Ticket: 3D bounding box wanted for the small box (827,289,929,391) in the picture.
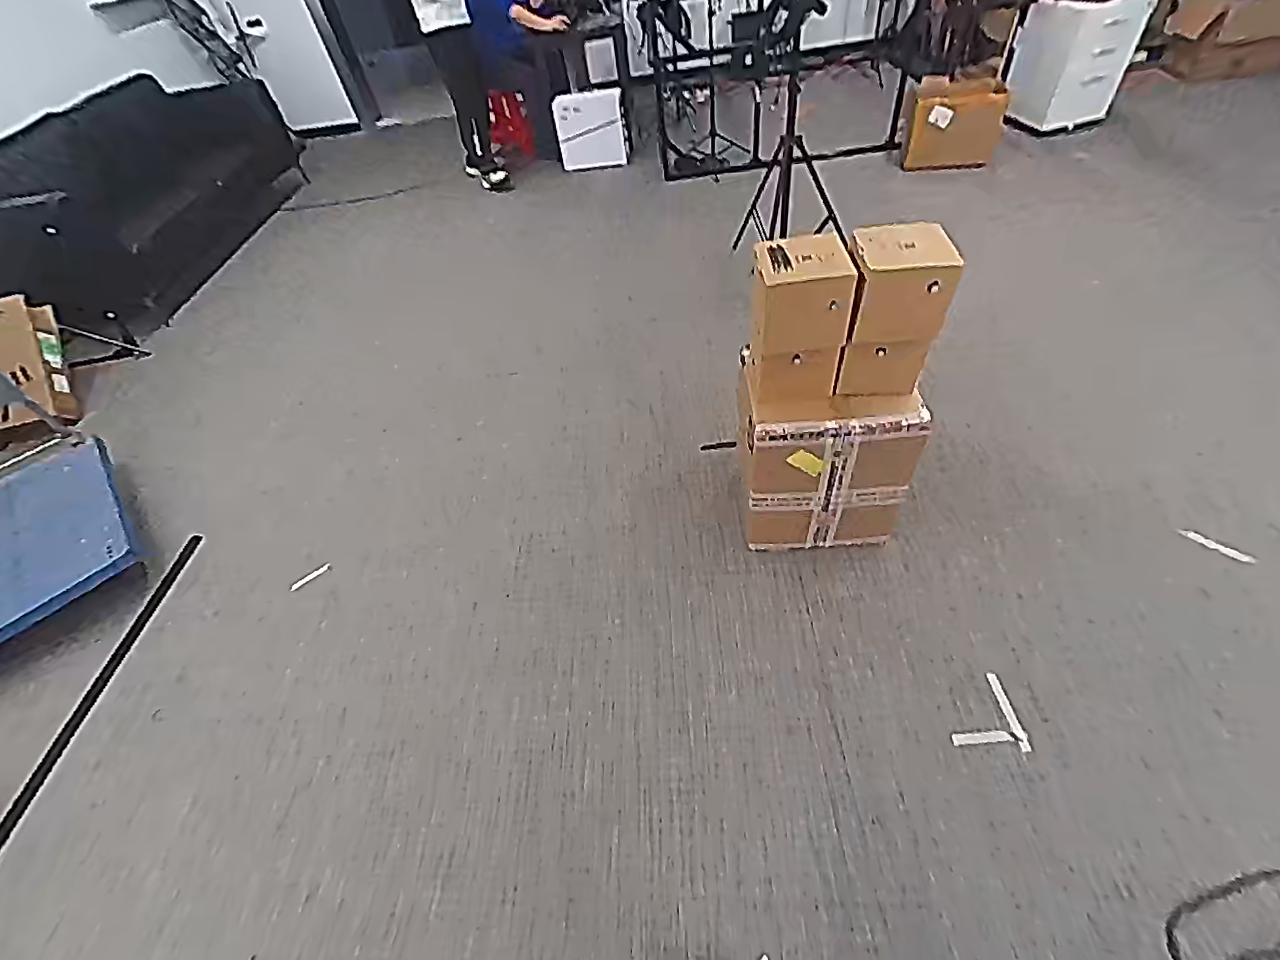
[{"bbox_3d":[0.538,-0.321,1.255,0.179,0.176,0.168,1,51,8],"label":"small box"}]
